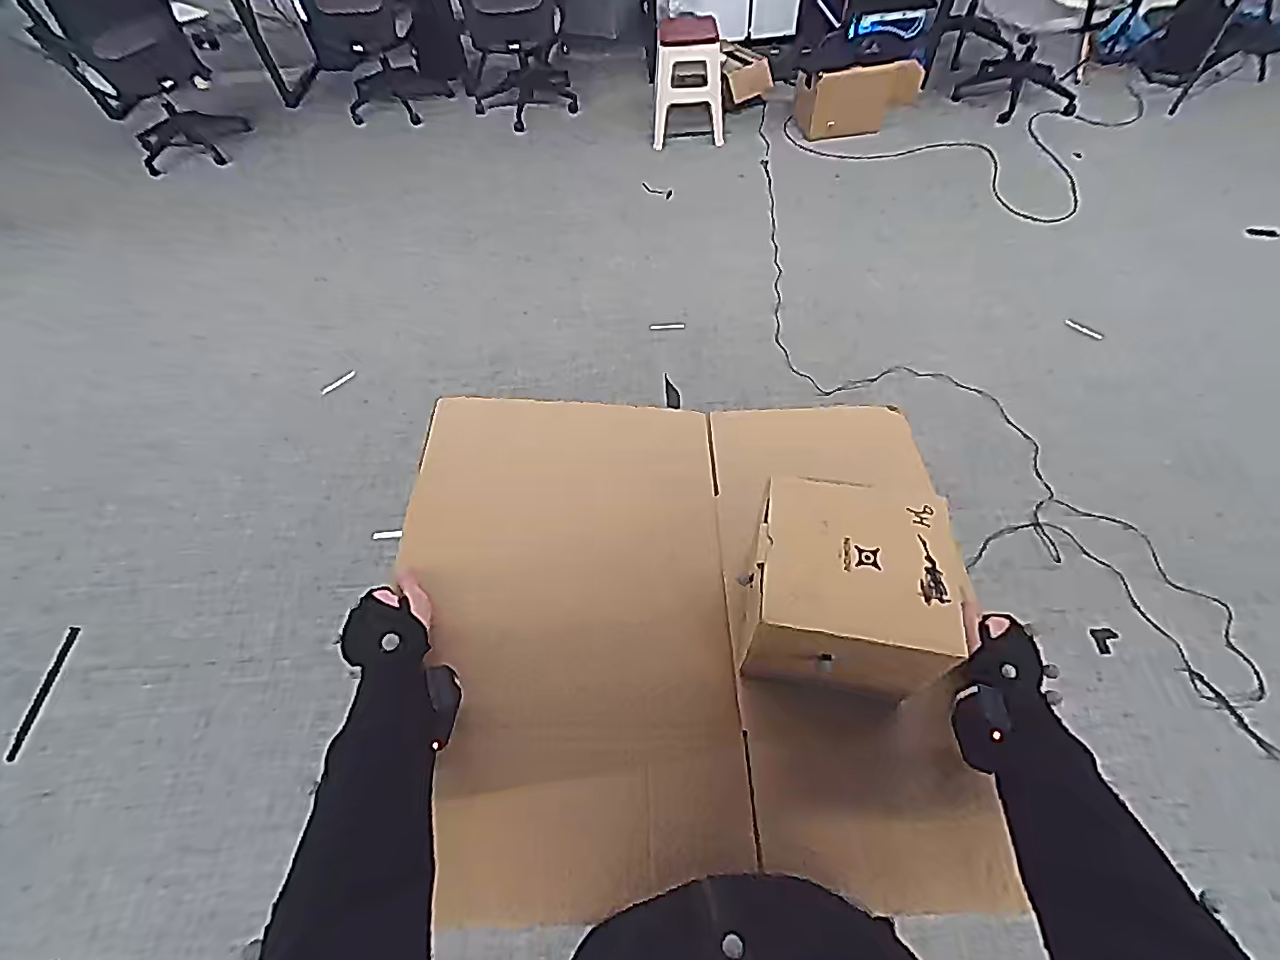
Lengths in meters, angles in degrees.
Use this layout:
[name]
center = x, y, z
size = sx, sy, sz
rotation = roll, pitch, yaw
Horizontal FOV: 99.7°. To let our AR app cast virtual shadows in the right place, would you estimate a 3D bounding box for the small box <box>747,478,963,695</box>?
[small box]
center = 0.213, 0.119, 0.584
size = 0.179, 0.176, 0.168
rotation = 7, 56, 9
